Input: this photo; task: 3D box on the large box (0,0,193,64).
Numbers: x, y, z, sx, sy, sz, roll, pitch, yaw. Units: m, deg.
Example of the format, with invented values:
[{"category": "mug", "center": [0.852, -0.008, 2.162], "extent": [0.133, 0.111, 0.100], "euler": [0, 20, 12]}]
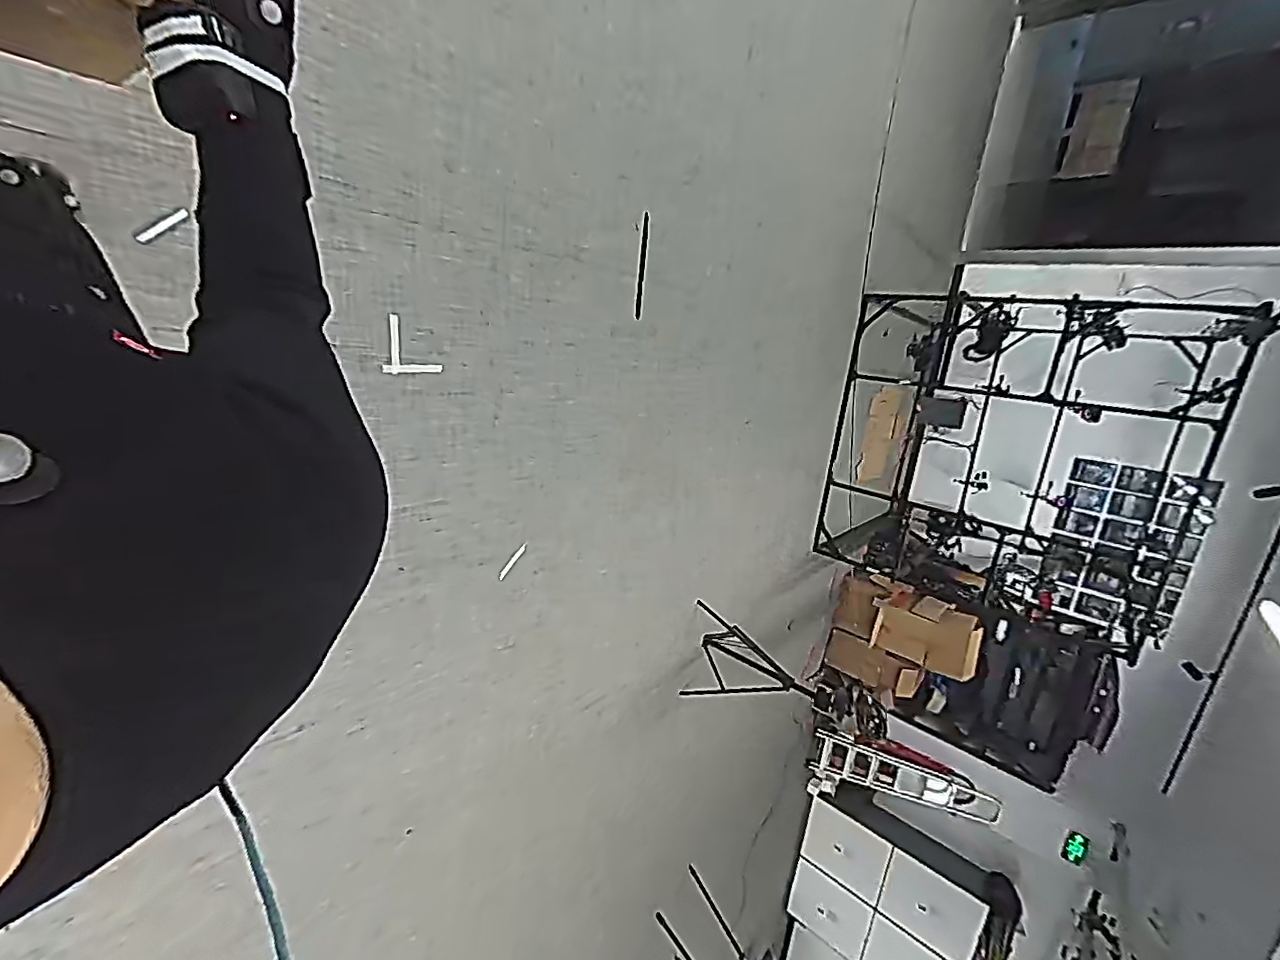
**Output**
[{"category": "large box", "center": [-0.538, -0.495, 0.279], "extent": [0.408, 0.320, 0.320], "euler": [-12, 118, -49]}]
